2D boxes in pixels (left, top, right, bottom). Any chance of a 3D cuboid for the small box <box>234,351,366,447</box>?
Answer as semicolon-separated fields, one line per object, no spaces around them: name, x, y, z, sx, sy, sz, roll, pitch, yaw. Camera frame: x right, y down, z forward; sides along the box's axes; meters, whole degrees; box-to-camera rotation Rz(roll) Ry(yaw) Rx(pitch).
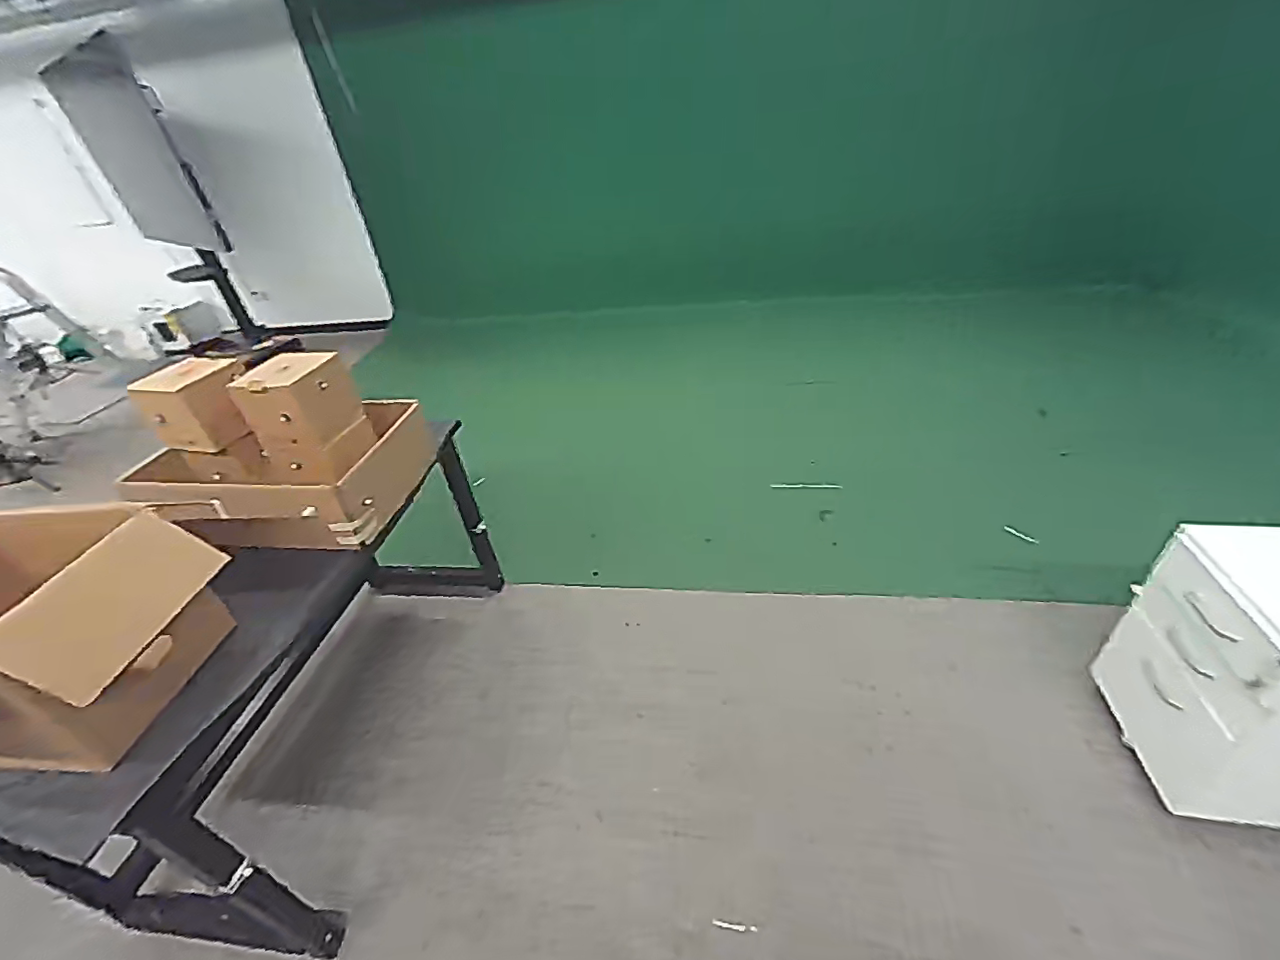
small box;-0.788;-0.191;1.279;0.168;0.176;0.179;3;37;12

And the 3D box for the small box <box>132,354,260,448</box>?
small box;-1.055;-0.193;1.323;0.168;0.176;0.179;6;37;15
